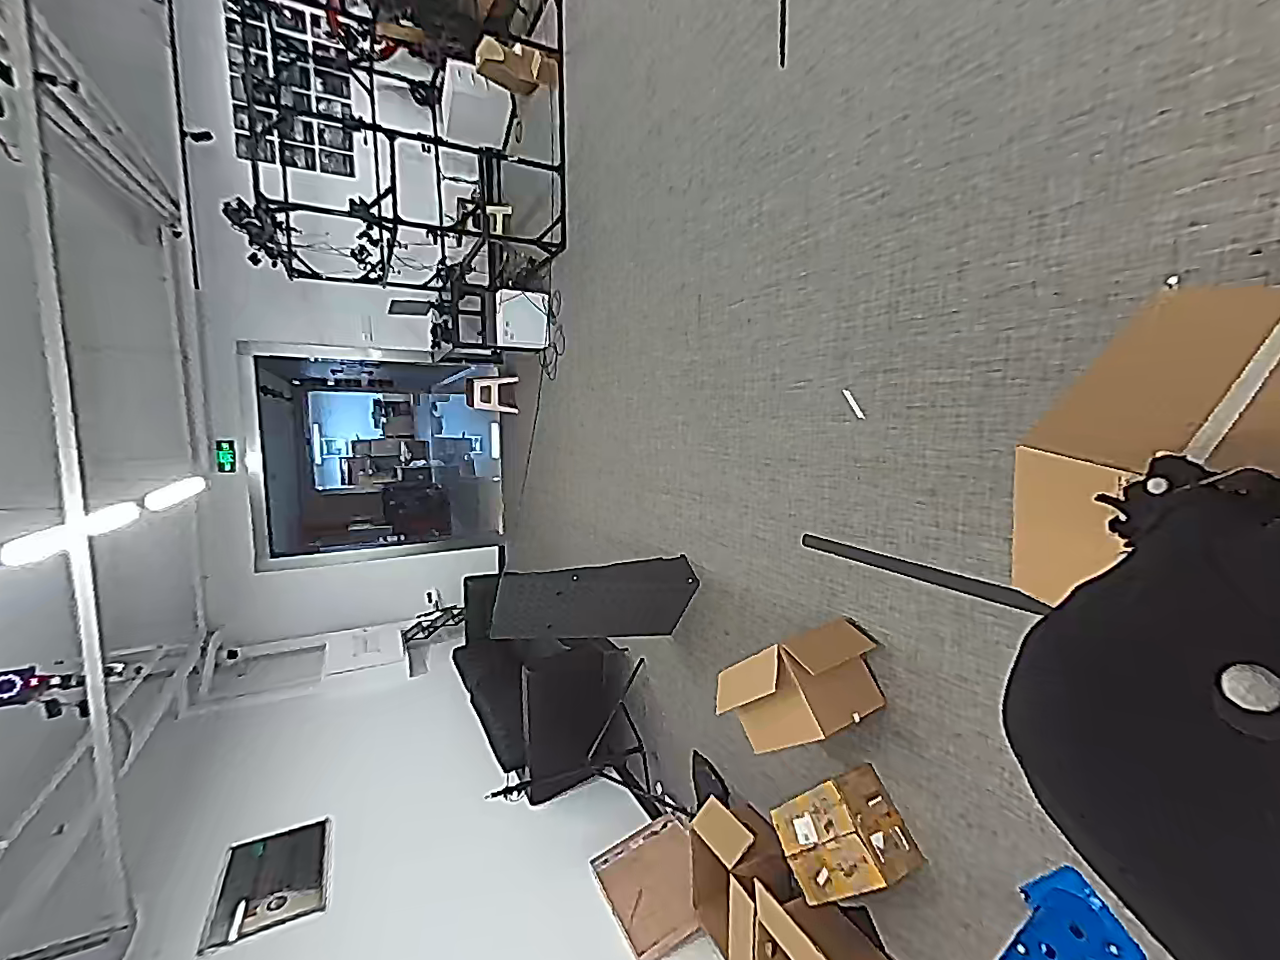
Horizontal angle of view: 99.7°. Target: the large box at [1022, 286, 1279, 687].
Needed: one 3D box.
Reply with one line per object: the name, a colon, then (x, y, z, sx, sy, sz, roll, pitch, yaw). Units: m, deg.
large box: (0.783, -0.014, 0.731, 0.320, 0.408, 0.320, 31, 155, 50)
